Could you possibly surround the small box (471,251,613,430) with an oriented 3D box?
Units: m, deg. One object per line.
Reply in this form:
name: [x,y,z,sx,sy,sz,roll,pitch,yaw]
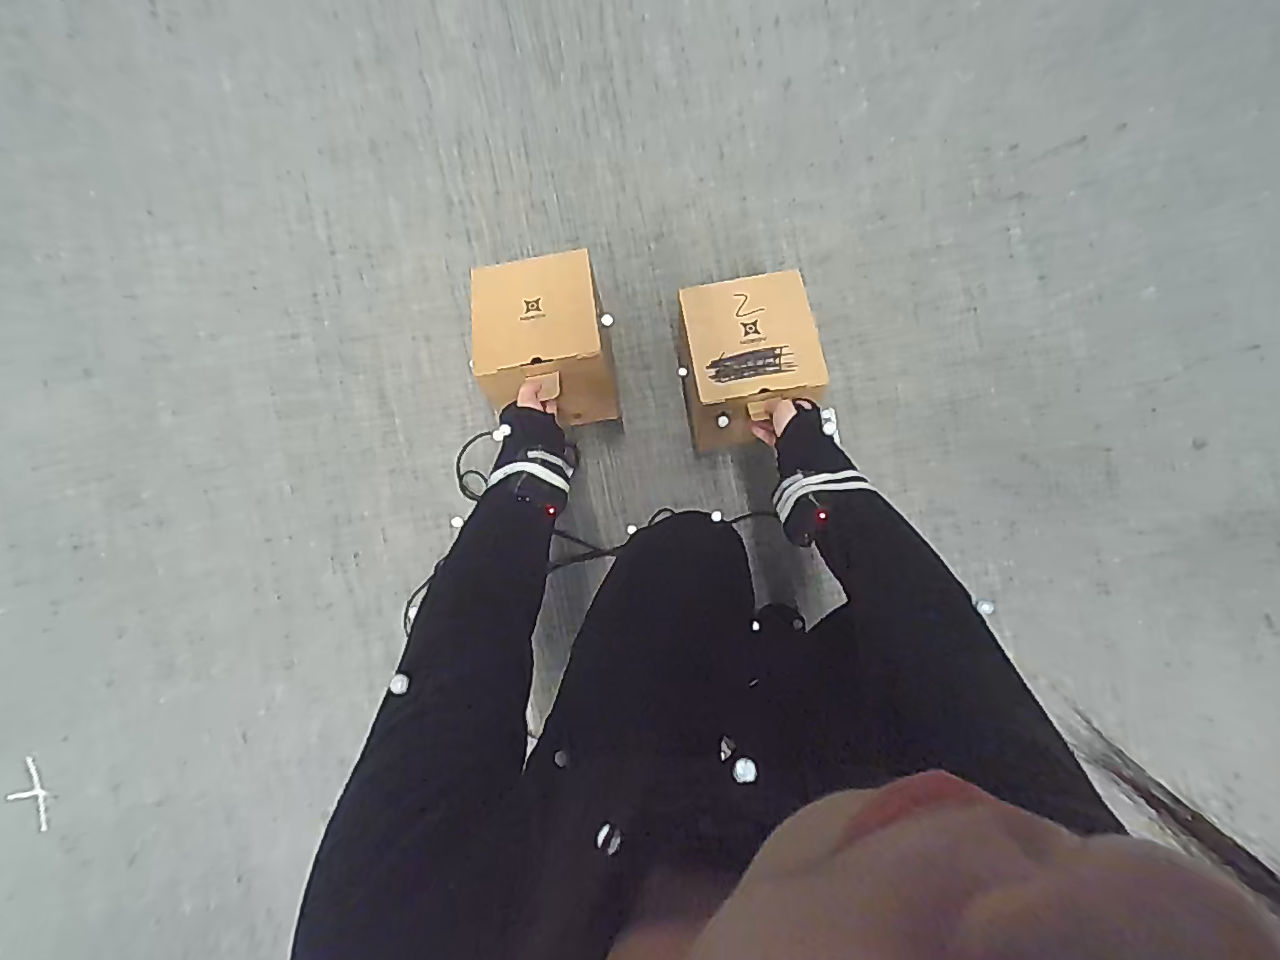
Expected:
small box: [-0.137,-0.196,0.788,0.168,0.176,0.179,-9,68,2]
